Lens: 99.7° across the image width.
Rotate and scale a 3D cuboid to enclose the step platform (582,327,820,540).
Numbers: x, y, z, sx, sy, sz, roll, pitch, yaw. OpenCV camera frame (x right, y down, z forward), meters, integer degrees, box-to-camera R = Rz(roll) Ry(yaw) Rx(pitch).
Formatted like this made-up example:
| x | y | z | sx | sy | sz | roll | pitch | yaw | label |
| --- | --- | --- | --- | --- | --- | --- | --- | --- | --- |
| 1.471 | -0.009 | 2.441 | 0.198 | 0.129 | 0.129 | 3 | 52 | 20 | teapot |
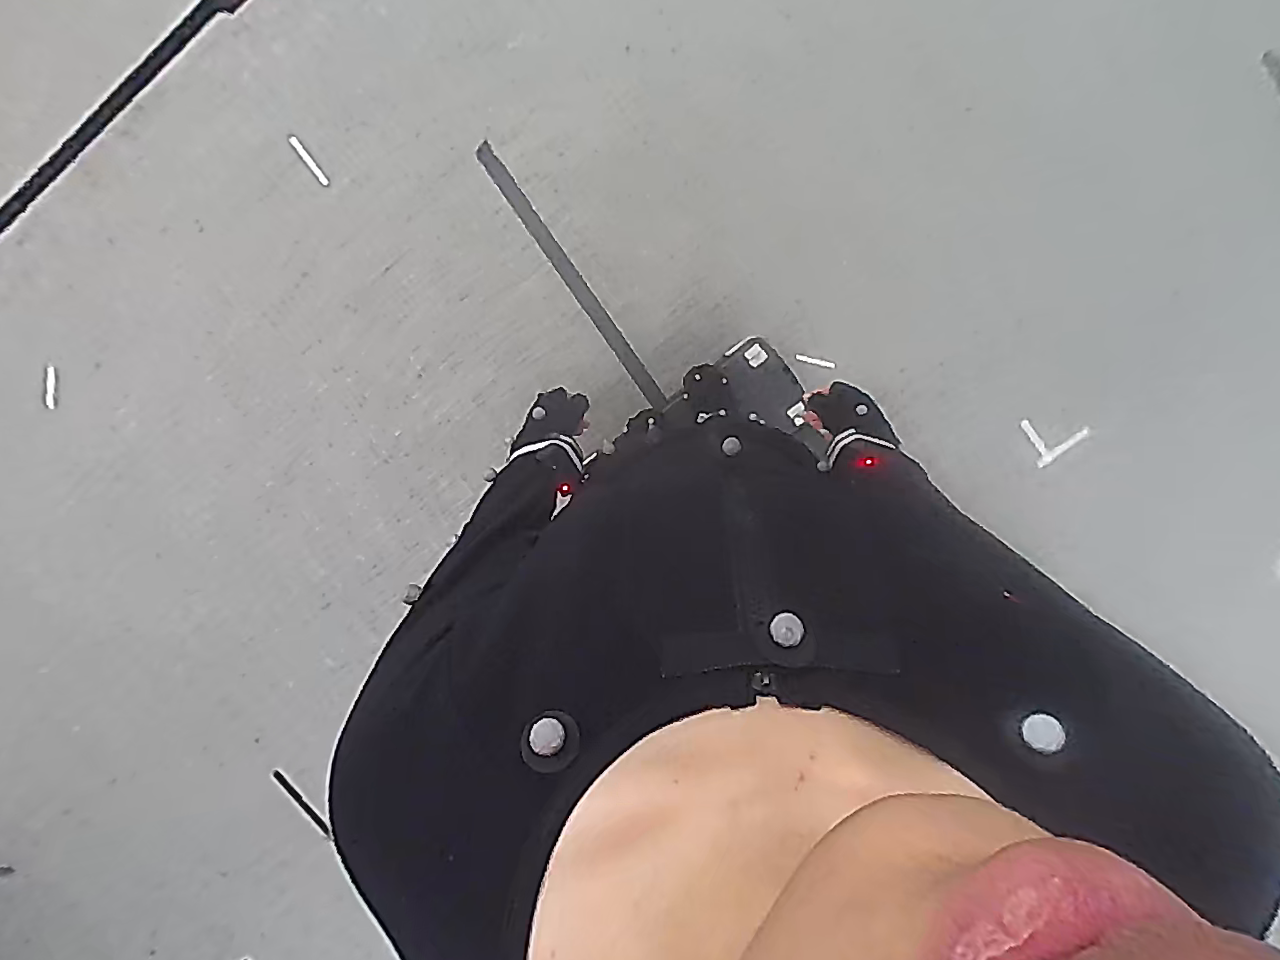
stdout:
| x | y | z | sx | sy | sz | roll | pitch | yaw | label |
| --- | --- | --- | --- | --- | --- | --- | --- | --- | --- |
| 0.164 | -0.130 | 1.557 | 0.684 | 0.204 | 0.286 | -38 | 97 | 7 | step platform |
